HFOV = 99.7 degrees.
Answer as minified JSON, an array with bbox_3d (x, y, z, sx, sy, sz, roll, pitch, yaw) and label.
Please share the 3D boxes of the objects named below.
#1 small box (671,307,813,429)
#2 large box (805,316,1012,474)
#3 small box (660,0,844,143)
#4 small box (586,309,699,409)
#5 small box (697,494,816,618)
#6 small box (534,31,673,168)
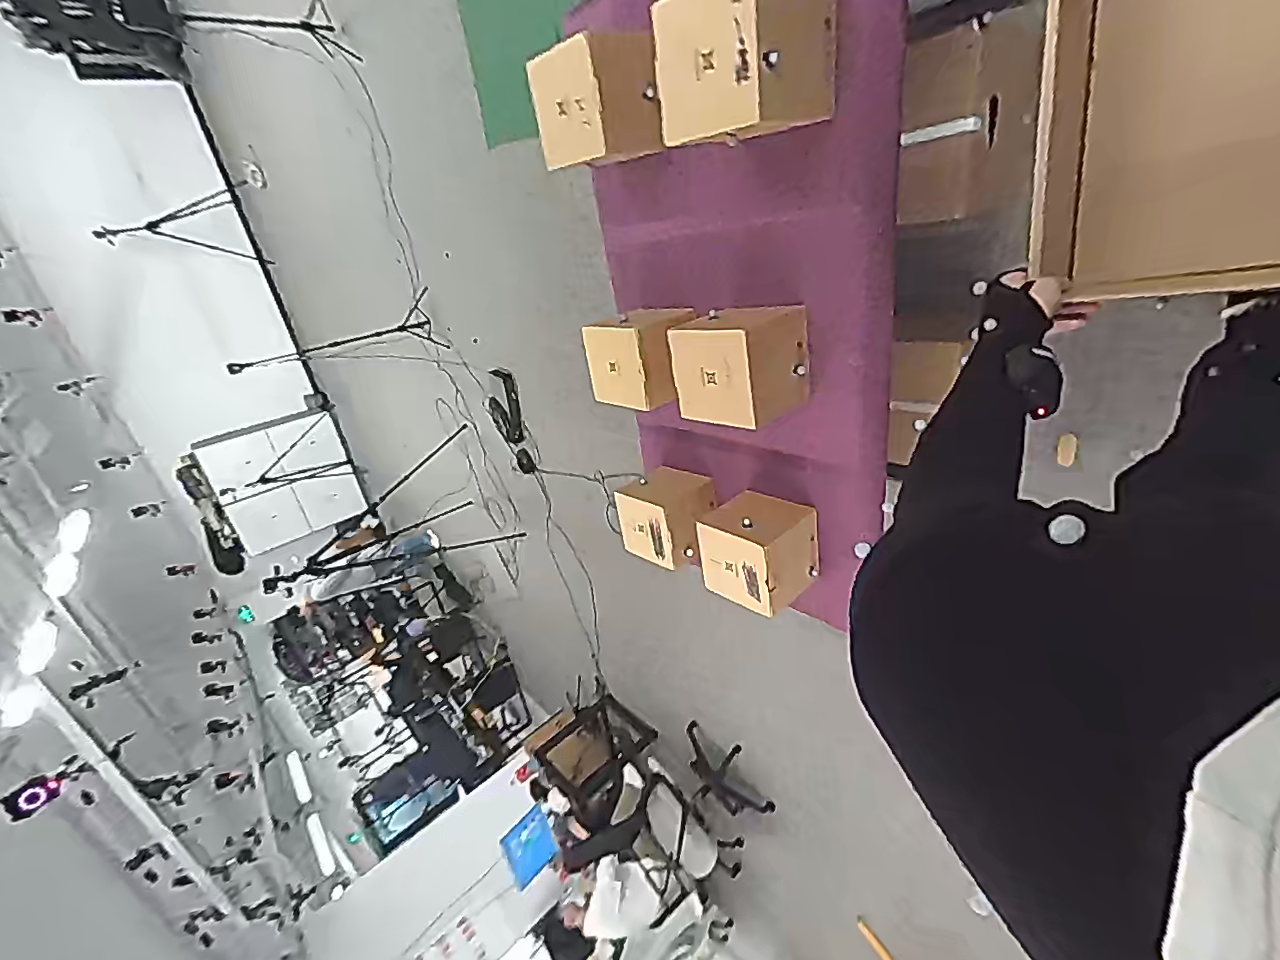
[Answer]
[{"bbox_3d":[0.182,-0.204,0.953,0.179,0.176,0.168,18,127,47],"label":"small box"},{"bbox_3d":[0.696,-0.241,1.431,0.408,0.320,0.320,17,124,48],"label":"large box"},{"bbox_3d":[0.152,-0.571,0.739,0.179,0.176,0.168,24,132,47],"label":"small box"},{"bbox_3d":[0.012,-0.261,1.143,0.179,0.176,0.168,18,126,45],"label":"small box"},{"bbox_3d":[0.243,0.145,1.103,0.179,0.176,0.168,18,125,48],"label":"small box"},{"bbox_3d":[-0.057,-0.661,0.956,0.179,0.176,0.168,20,130,44],"label":"small box"}]
